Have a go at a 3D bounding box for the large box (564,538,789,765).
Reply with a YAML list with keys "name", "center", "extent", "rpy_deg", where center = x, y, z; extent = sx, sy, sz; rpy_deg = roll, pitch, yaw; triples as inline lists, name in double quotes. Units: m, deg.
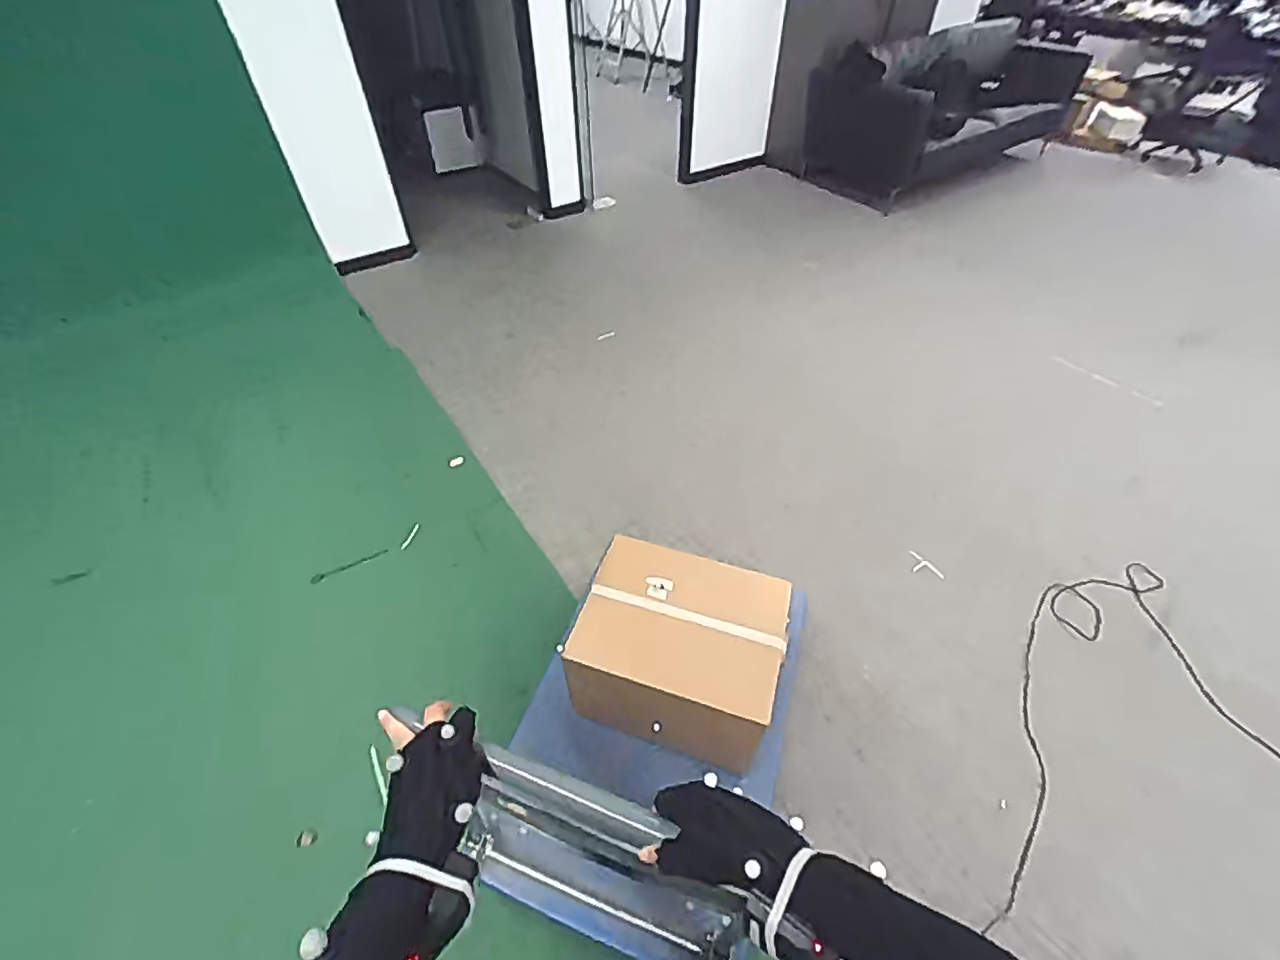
- name: "large box"
  center: [0.089, 0.382, 1.211]
  extent: [0.408, 0.320, 0.320]
  rpy_deg: [13, 48, 13]
